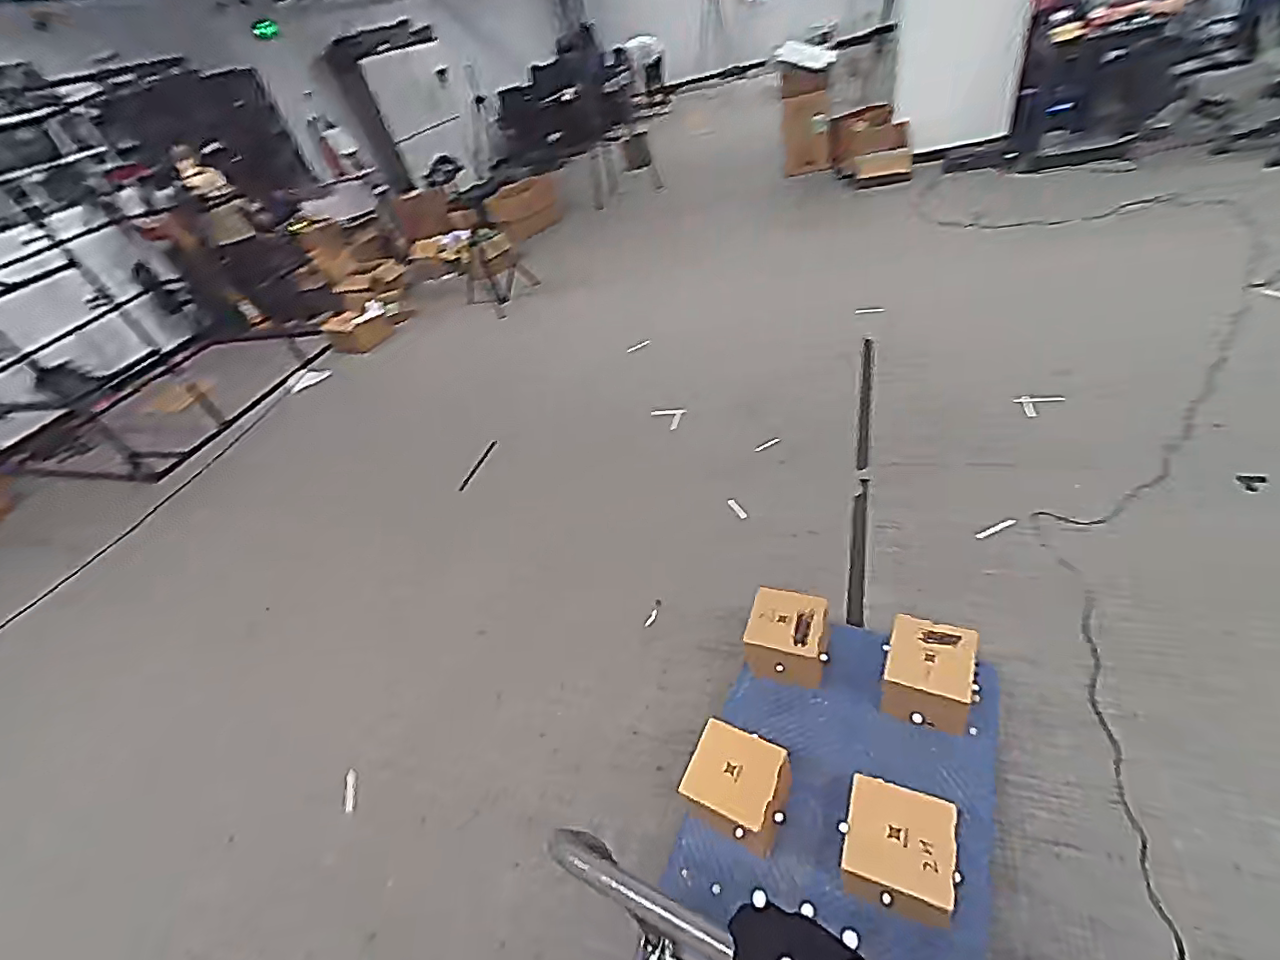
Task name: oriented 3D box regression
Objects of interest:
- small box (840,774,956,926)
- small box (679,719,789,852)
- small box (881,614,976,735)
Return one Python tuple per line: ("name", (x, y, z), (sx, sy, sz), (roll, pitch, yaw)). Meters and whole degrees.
("small box", (0.478, 0.688, 1.006), (0.179, 0.176, 0.168), (6, 46, 27))
("small box", (0.207, 0.653, 1.153), (0.179, 0.176, 0.168), (12, 48, 29))
("small box", (0.649, 0.439, 1.226), (0.168, 0.176, 0.179), (9, 48, 29))
